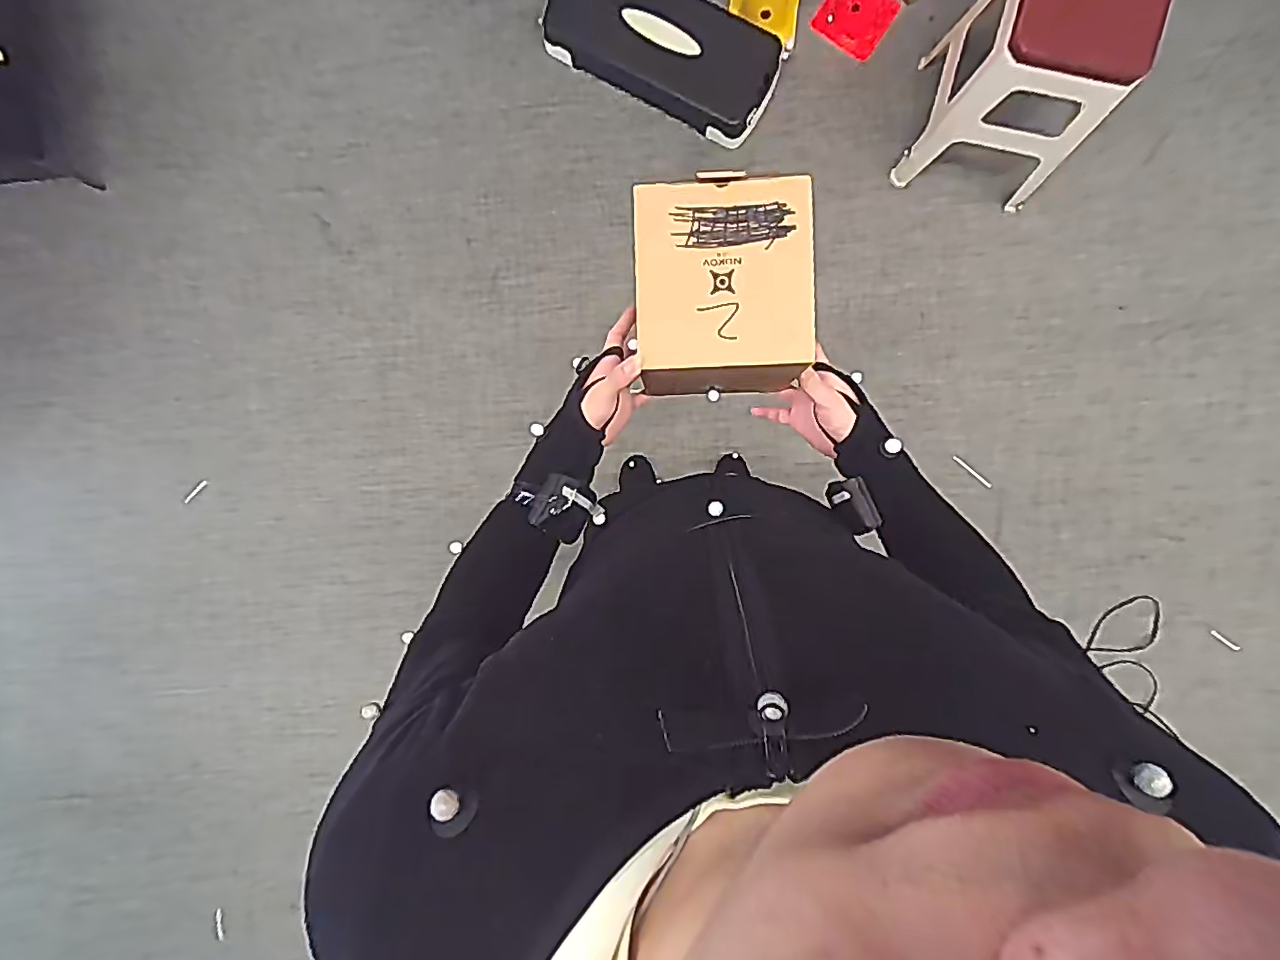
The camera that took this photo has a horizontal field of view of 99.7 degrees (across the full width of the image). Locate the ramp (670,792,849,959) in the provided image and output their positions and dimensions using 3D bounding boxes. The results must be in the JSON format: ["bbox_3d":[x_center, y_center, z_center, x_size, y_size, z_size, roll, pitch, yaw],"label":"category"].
[{"bbox_3d":[0.362,1.451,1.567,0.509,0.206,0.991,-6,91,4],"label":"ramp"}]
